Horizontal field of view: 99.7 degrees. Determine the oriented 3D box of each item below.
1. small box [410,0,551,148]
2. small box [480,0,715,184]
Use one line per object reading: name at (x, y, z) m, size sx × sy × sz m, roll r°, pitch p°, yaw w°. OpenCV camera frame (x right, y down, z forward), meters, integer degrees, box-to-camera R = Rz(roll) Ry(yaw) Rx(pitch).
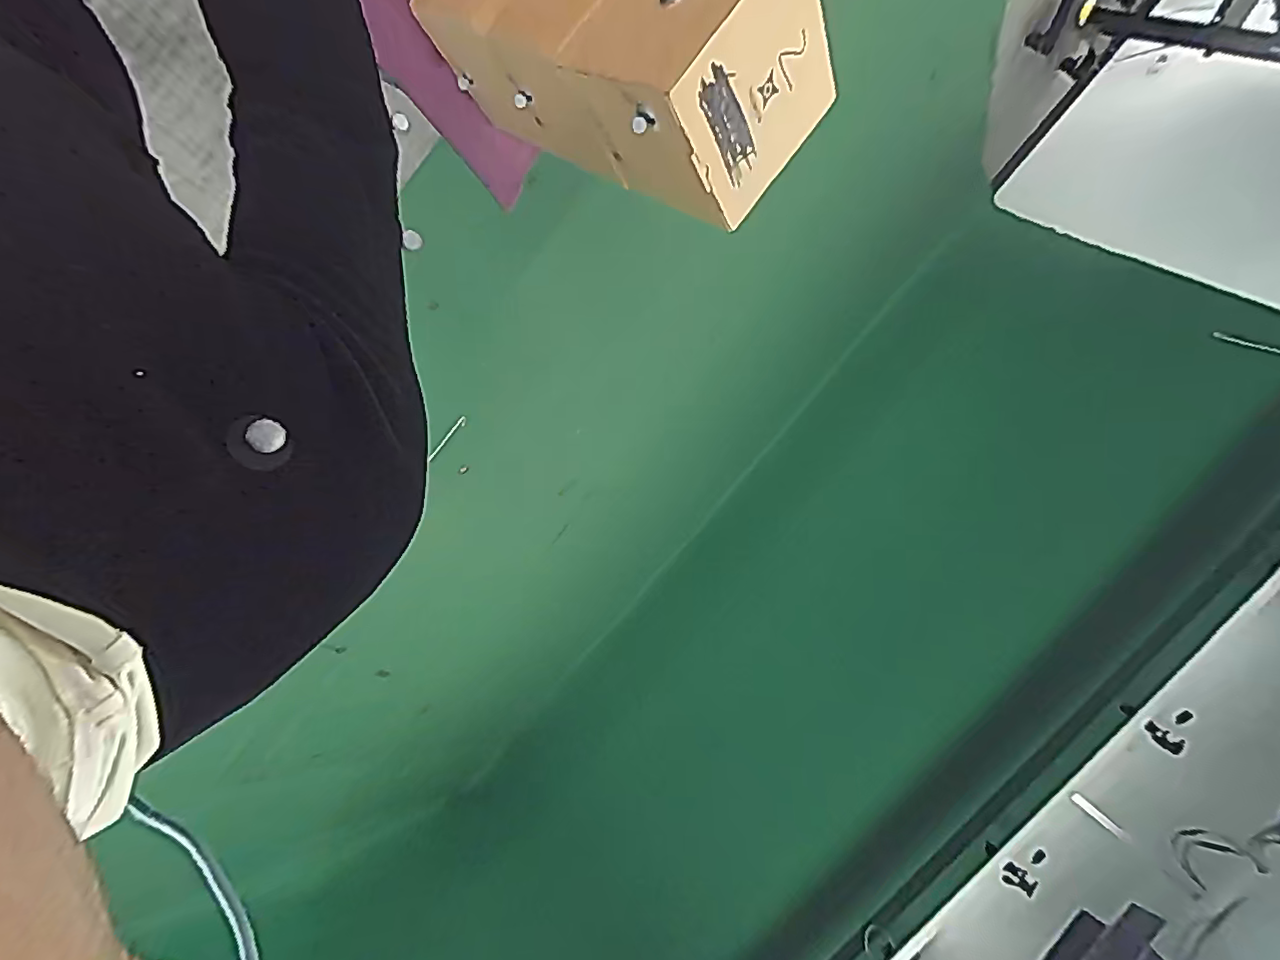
small box at (-0.155, -0.586, 0.703) m, size 0.168 × 0.176 × 0.179 m, roll -49°, pitch 150°, yaw 1°
small box at (-0.048, -0.493, 0.623) m, size 0.179 × 0.176 × 0.168 m, roll -48°, pitch 149°, yaw 2°
